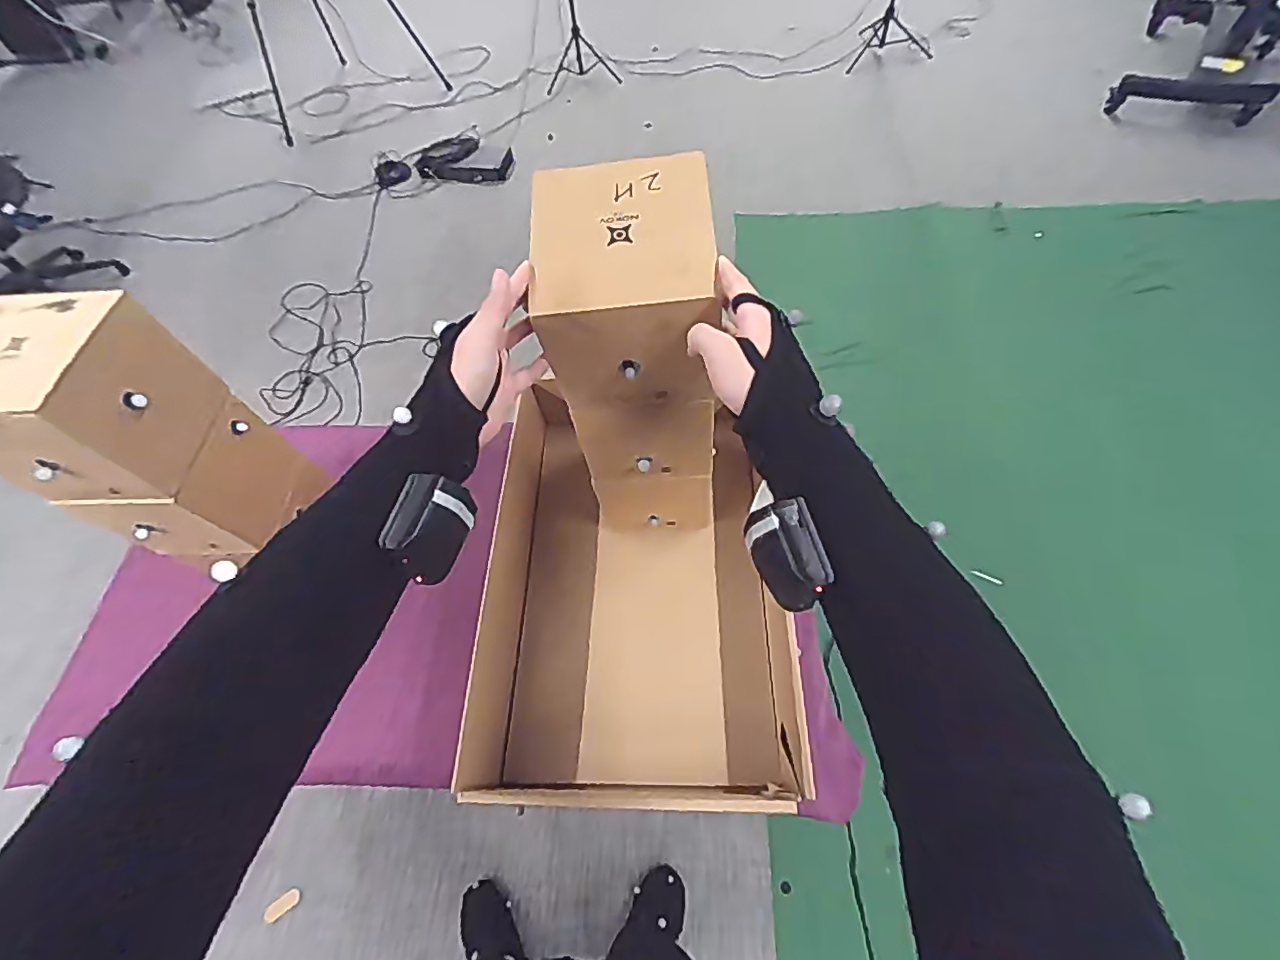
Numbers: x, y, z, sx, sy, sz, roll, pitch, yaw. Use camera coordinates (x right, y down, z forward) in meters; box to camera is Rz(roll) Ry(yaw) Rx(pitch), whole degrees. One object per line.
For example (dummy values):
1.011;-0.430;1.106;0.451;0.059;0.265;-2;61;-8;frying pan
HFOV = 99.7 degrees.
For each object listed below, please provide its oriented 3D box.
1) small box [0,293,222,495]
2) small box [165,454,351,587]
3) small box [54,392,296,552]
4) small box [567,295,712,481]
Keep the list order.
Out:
-0.646;-0.091;0.632;0.168;0.176;0.179;-1;60;3;small box
-0.623;0.074;0.912;0.168;0.176;0.179;0;60;4;small box
-0.636;-0.004;0.771;0.168;0.176;0.179;-1;59;4;small box
0.006;-0.115;0.713;0.168;0.176;0.179;-3;62;5;small box
